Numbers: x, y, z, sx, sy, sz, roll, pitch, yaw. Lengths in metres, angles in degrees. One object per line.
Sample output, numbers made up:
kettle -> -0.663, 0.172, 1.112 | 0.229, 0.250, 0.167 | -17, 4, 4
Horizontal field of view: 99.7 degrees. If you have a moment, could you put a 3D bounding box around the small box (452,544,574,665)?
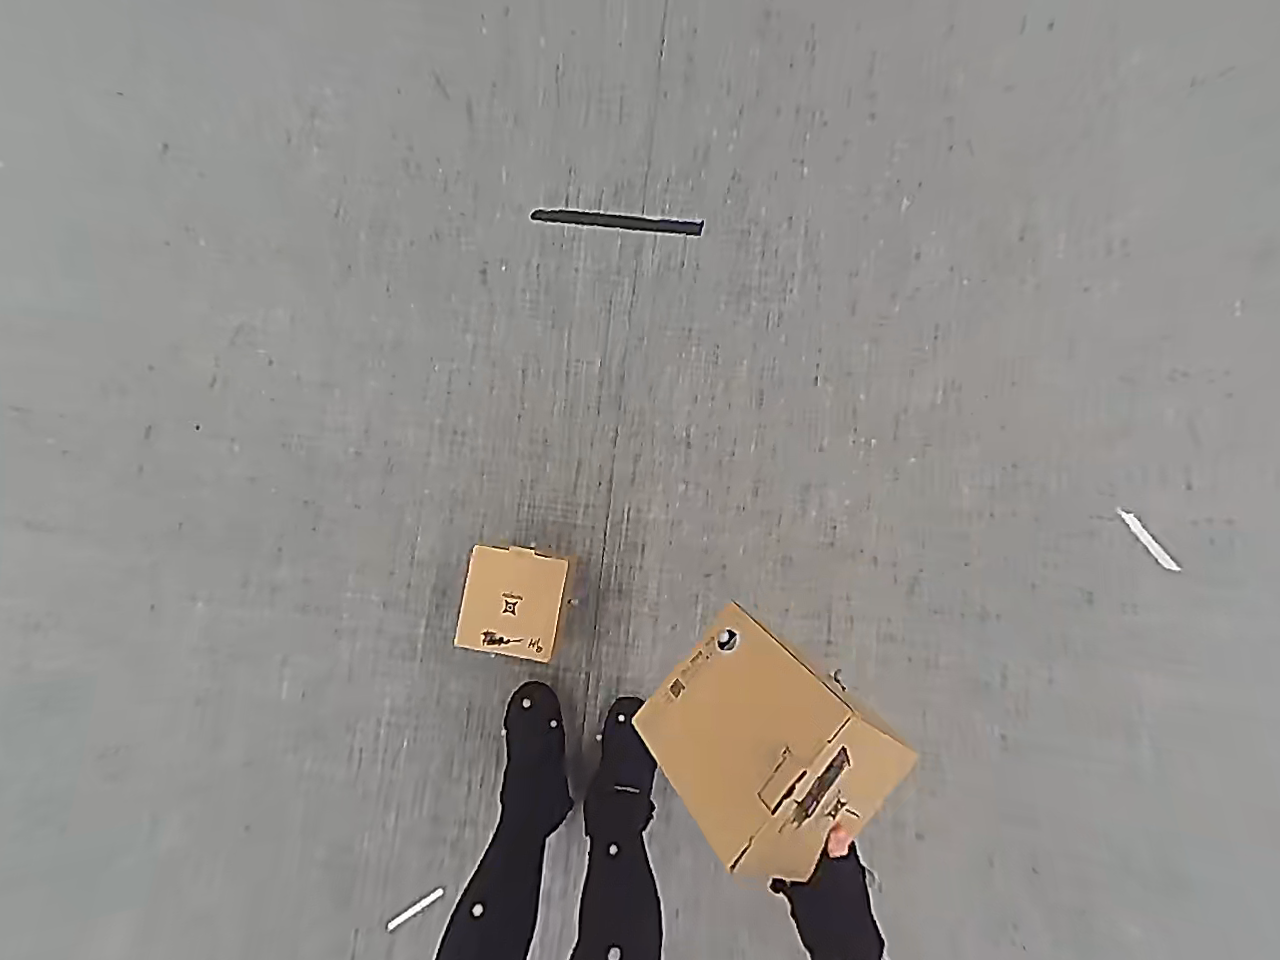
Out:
small box -> -0.220, 0.218, 0.988 | 0.168, 0.176, 0.179 | 11, 84, 0

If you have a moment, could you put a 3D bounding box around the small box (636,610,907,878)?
small box -> 0.128, 0.260, 0.554 | 0.168, 0.176, 0.179 | -51, 127, -1
